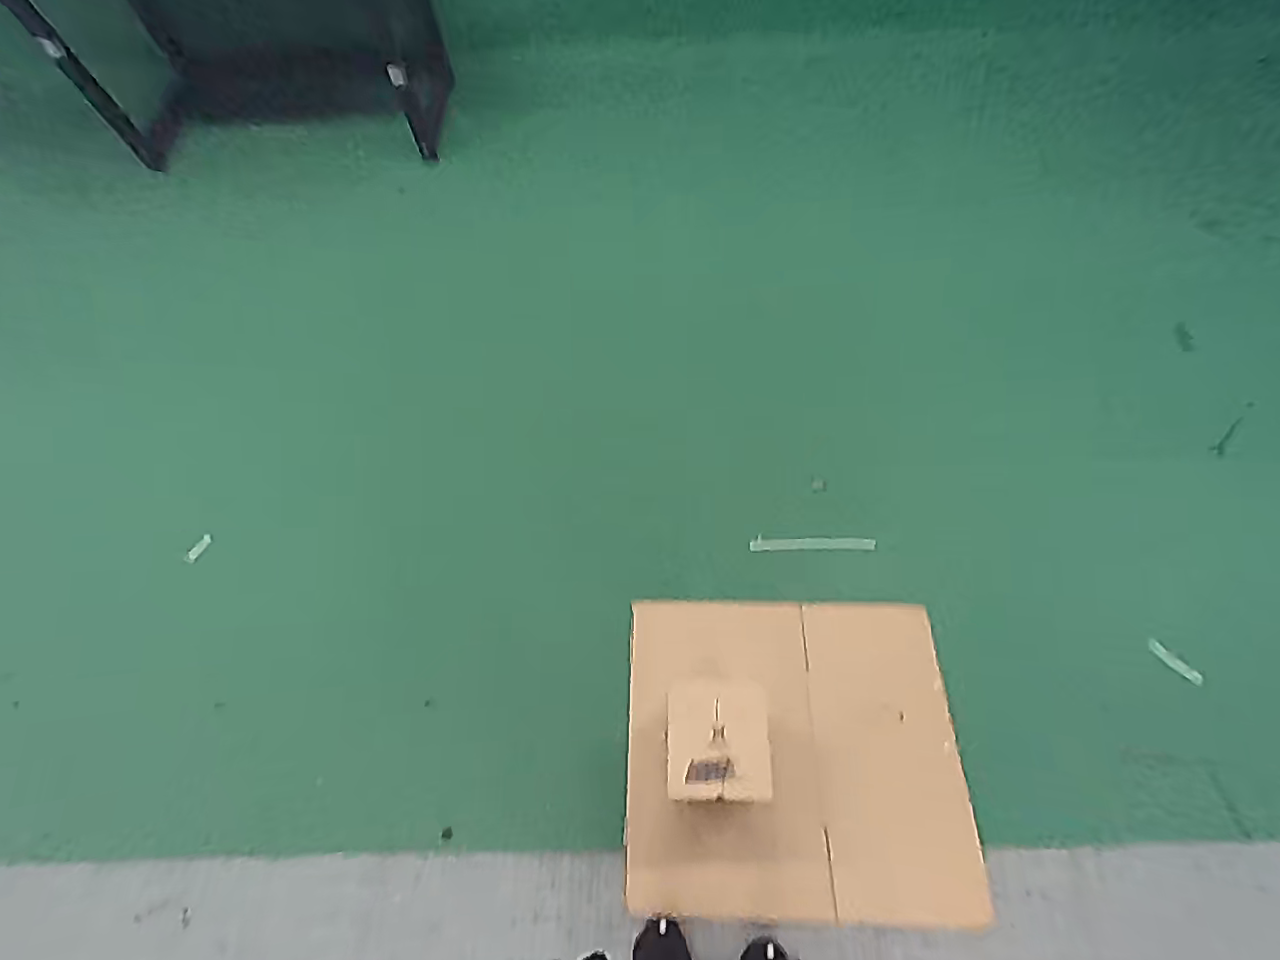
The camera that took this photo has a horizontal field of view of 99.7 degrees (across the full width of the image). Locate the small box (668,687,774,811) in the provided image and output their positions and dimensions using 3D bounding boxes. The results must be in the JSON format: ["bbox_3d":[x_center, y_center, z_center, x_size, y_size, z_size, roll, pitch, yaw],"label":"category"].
[{"bbox_3d":[0.134,0.466,0.940,0.168,0.176,0.179,0,60,4],"label":"small box"}]
